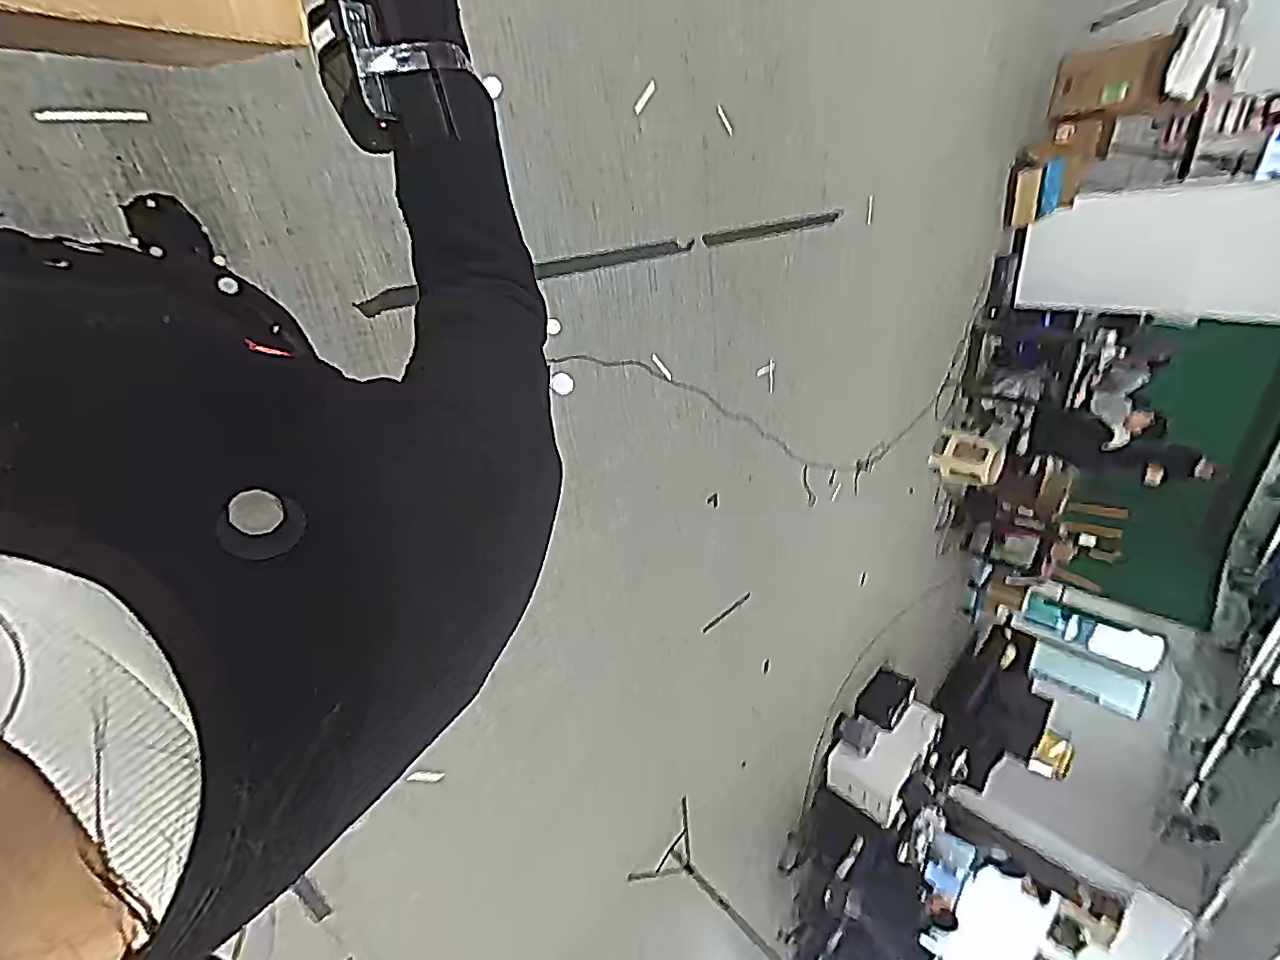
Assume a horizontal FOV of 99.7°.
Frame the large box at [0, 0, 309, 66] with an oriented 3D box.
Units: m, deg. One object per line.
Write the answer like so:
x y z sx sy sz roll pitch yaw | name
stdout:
-0.442 -0.387 0.223 0.408 0.320 0.320 -25 133 -37 | large box
